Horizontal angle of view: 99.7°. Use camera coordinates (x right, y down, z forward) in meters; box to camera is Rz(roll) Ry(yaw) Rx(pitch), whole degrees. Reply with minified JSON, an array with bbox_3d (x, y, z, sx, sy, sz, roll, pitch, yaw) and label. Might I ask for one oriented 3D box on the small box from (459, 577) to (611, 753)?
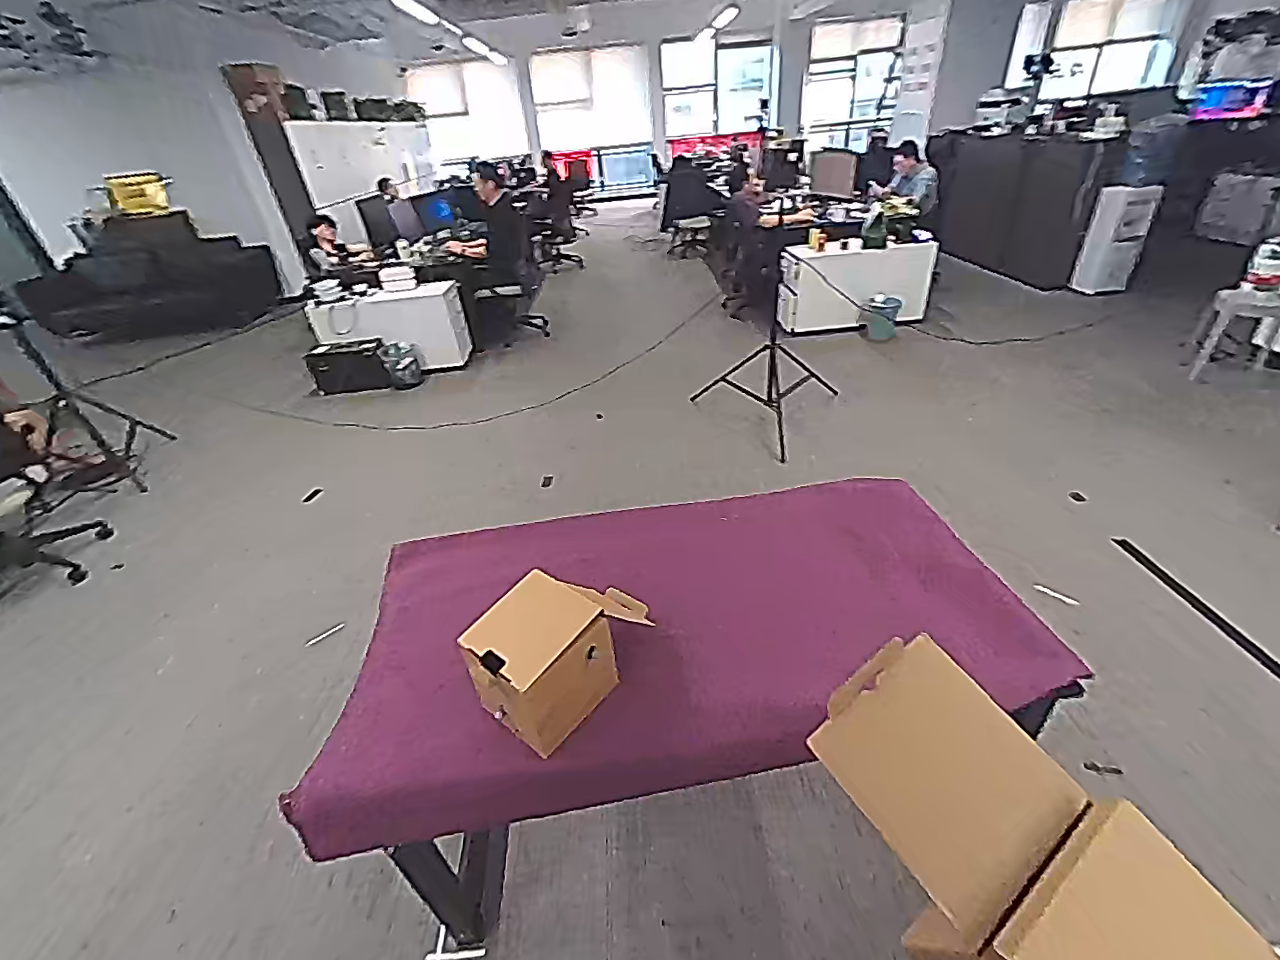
[{"bbox_3d":[-0.162,0.300,0.893,0.168,0.176,0.179,19,41,36],"label":"small box"}]
